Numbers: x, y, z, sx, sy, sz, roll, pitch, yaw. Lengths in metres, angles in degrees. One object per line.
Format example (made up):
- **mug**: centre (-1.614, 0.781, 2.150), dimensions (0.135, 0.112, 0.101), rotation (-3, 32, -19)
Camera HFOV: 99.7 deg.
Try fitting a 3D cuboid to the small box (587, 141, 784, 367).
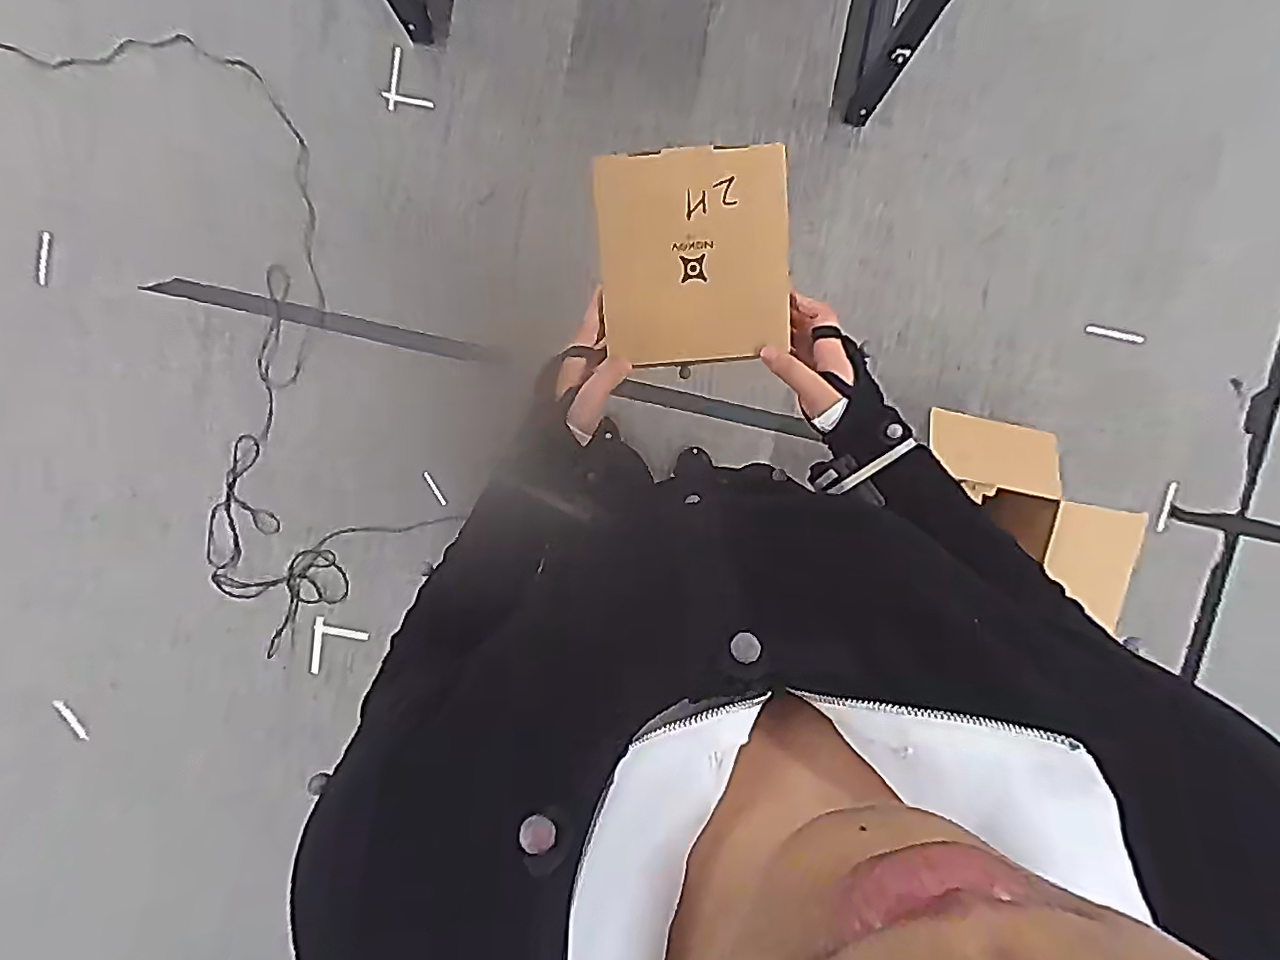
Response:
- **small box**: centre (0.042, -0.208, 0.545), dimensions (0.168, 0.176, 0.179), rotation (-5, 100, 0)
